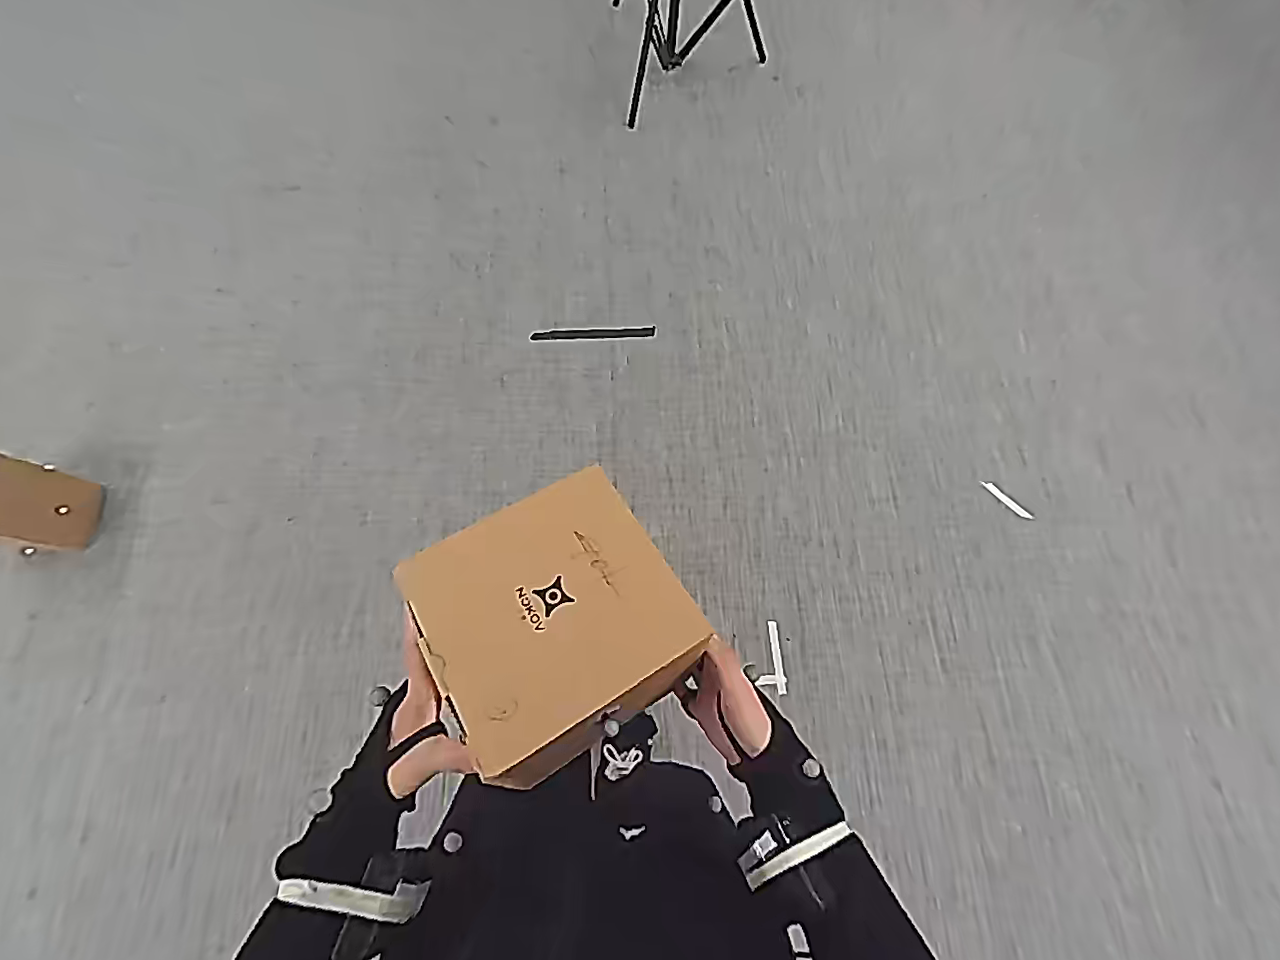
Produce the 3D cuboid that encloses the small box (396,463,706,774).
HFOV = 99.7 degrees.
[{"bbox_3d":[-0.068,0.124,0.457,0.179,0.176,0.168,-28,65,-18],"label":"small box"}]

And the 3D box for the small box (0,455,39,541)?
[{"bbox_3d":[-1.463,0.025,1.150,0.168,0.176,0.179,2,73,-1],"label":"small box"}]
